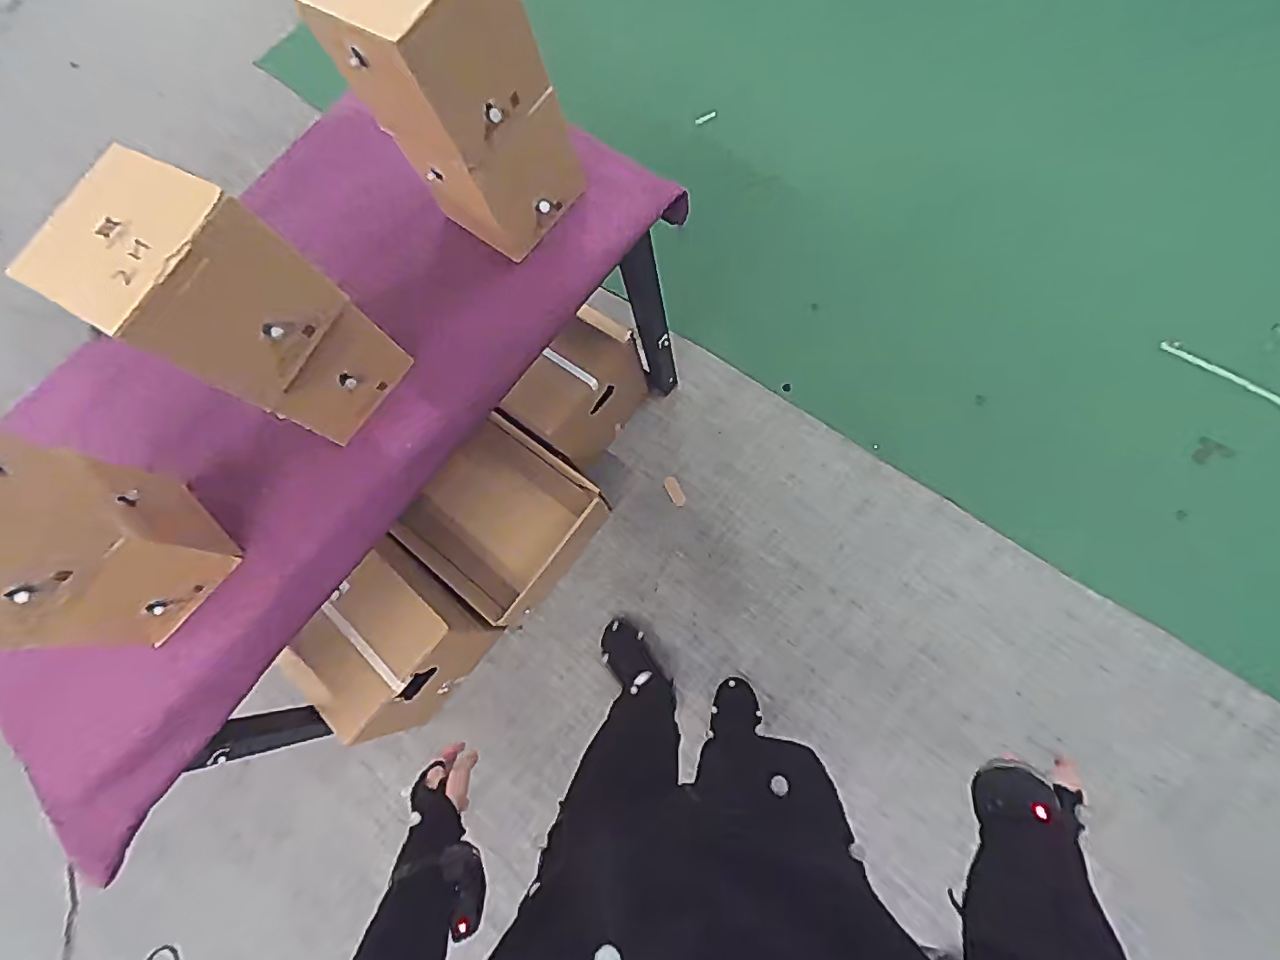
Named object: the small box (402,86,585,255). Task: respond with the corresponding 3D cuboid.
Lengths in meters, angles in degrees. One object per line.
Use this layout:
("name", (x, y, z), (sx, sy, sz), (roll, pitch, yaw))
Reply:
("small box", (-0.209, -0.468, 0.791), (0.179, 0.176, 0.168), (37, 83, 17))

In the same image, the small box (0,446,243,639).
("small box", (-0.682, 0.091, 0.704), (0.179, 0.176, 0.168), (39, 82, 16))

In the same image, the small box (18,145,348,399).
("small box", (-0.471, -0.211, 0.584), (0.179, 0.176, 0.168), (27, 80, 15))

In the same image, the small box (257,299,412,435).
("small box", (-0.459, -0.183, 0.748), (0.179, 0.176, 0.168), (33, 81, 17))

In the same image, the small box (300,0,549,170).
("small box", (-0.240, -0.510, 0.637), (0.179, 0.176, 0.168), (34, 83, 17))
